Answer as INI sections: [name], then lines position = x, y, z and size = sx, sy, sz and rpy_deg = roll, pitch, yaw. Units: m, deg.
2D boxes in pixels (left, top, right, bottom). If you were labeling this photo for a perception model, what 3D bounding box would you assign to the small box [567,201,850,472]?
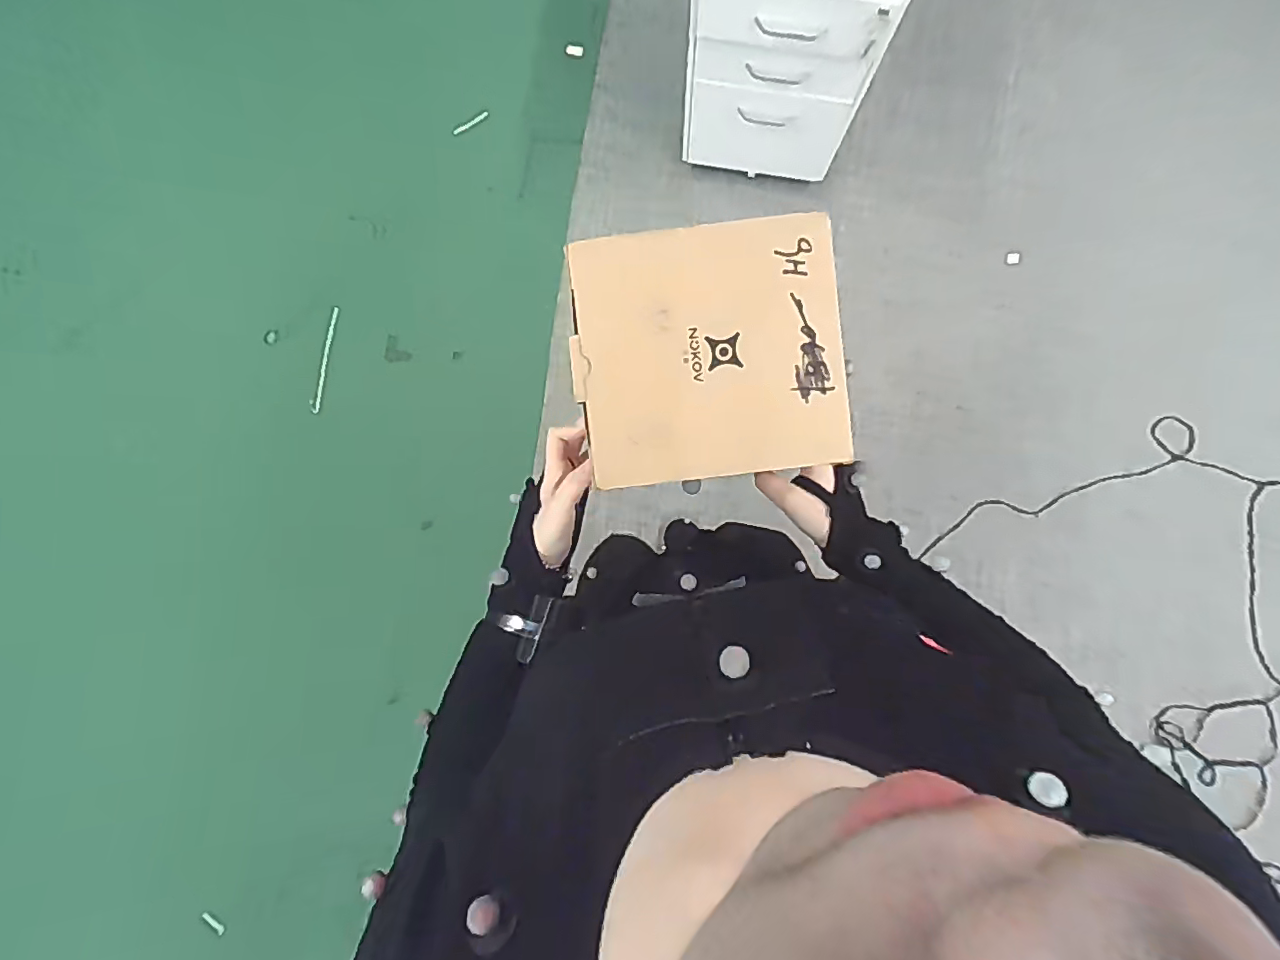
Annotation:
[small box]
position = 0.046, -0.095, 0.437
size = 0.179, 0.176, 0.168
rpy_deg = -6, 91, 1
